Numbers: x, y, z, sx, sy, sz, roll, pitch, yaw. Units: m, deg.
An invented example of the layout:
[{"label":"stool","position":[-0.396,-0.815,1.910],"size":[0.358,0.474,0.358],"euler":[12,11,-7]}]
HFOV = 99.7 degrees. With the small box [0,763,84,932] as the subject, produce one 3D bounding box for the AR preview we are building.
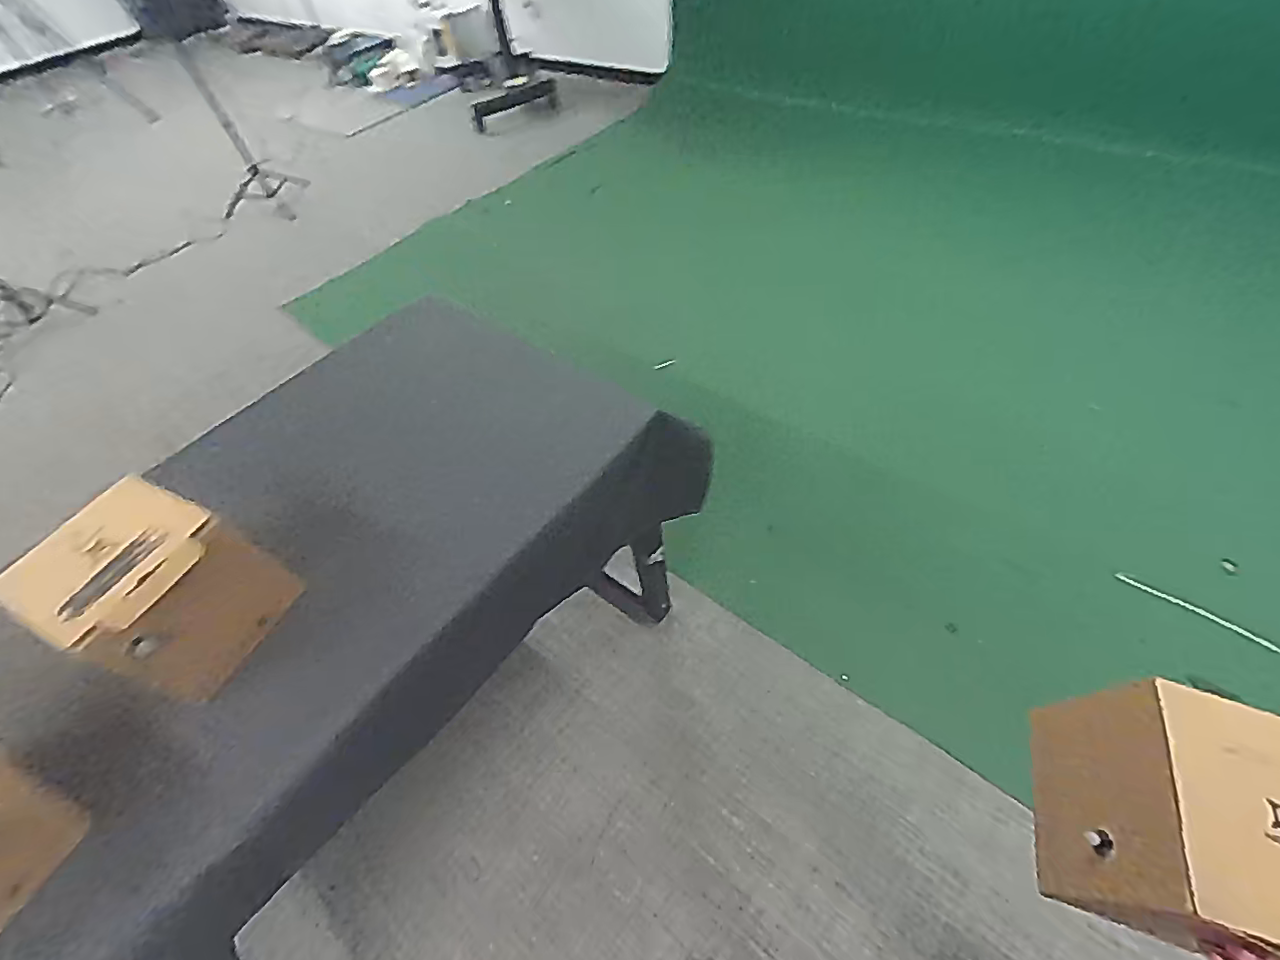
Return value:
[{"label":"small box","position":[-0.685,0.347,0.480],"size":[0.179,0.176,0.168],"euler":[16,55,18]}]
